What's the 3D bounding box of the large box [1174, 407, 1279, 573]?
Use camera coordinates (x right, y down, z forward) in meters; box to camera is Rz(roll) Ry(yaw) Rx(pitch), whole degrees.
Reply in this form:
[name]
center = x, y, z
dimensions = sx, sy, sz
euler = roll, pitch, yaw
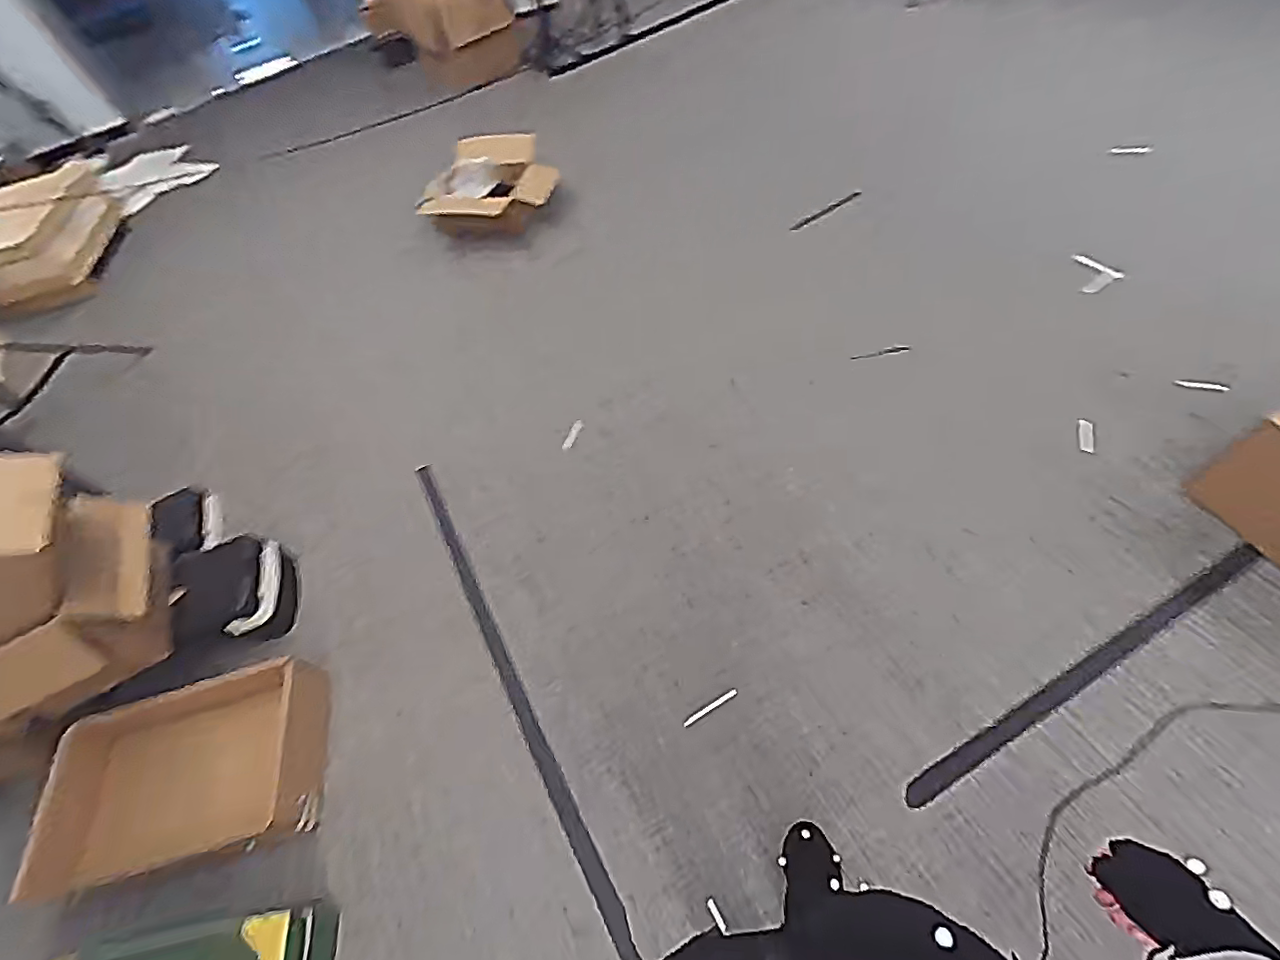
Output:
[large box]
center = 1.641, 0.024, 1.262
dimensions = 0.320, 0.320, 0.408
euler = -24, 56, -5
